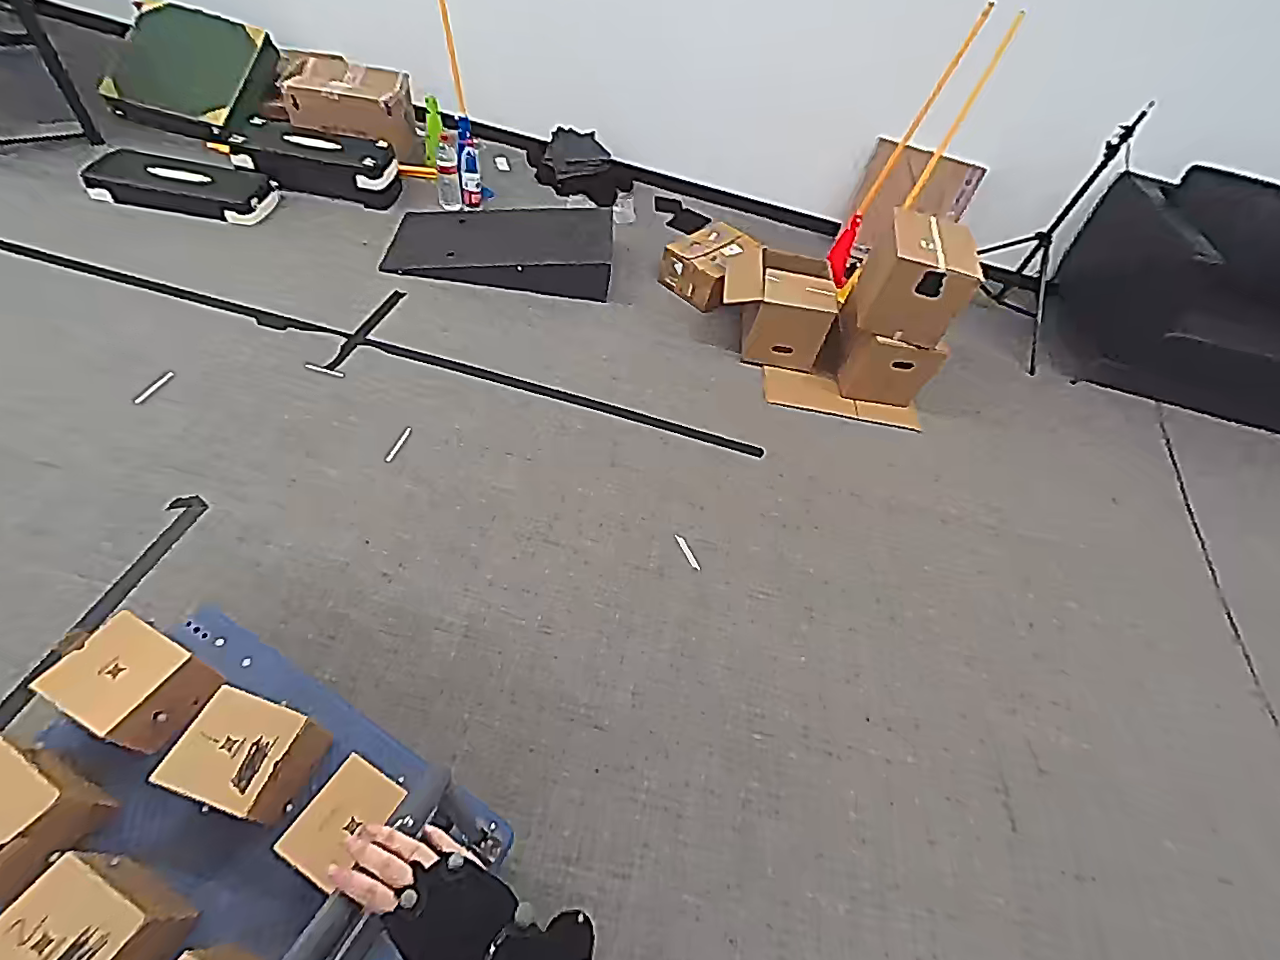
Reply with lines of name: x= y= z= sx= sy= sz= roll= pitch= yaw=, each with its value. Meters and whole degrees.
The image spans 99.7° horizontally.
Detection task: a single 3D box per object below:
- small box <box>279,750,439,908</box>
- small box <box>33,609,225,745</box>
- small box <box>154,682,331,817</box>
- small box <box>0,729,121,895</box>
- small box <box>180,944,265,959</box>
small box: x=-0.485 y=0.619 z=0.965 sx=0.179 sy=0.176 sz=0.168 roll=29 pitch=52 yaw=10
small box: x=-0.955 y=0.383 z=1.034 sx=0.179 sy=0.176 sz=0.168 roll=27 pitch=53 yaw=8
small box: x=-0.713 y=0.503 z=0.998 sx=0.179 sy=0.176 sz=0.168 roll=19 pitch=52 yaw=2
small box: x=-1.034 y=0.549 z=0.887 sx=0.179 sy=0.176 sz=0.168 roll=31 pitch=53 yaw=10
small box: x=-0.622 y=0.812 z=0.784 sx=0.179 sy=0.176 sz=0.168 roll=27 pitch=51 yaw=7
